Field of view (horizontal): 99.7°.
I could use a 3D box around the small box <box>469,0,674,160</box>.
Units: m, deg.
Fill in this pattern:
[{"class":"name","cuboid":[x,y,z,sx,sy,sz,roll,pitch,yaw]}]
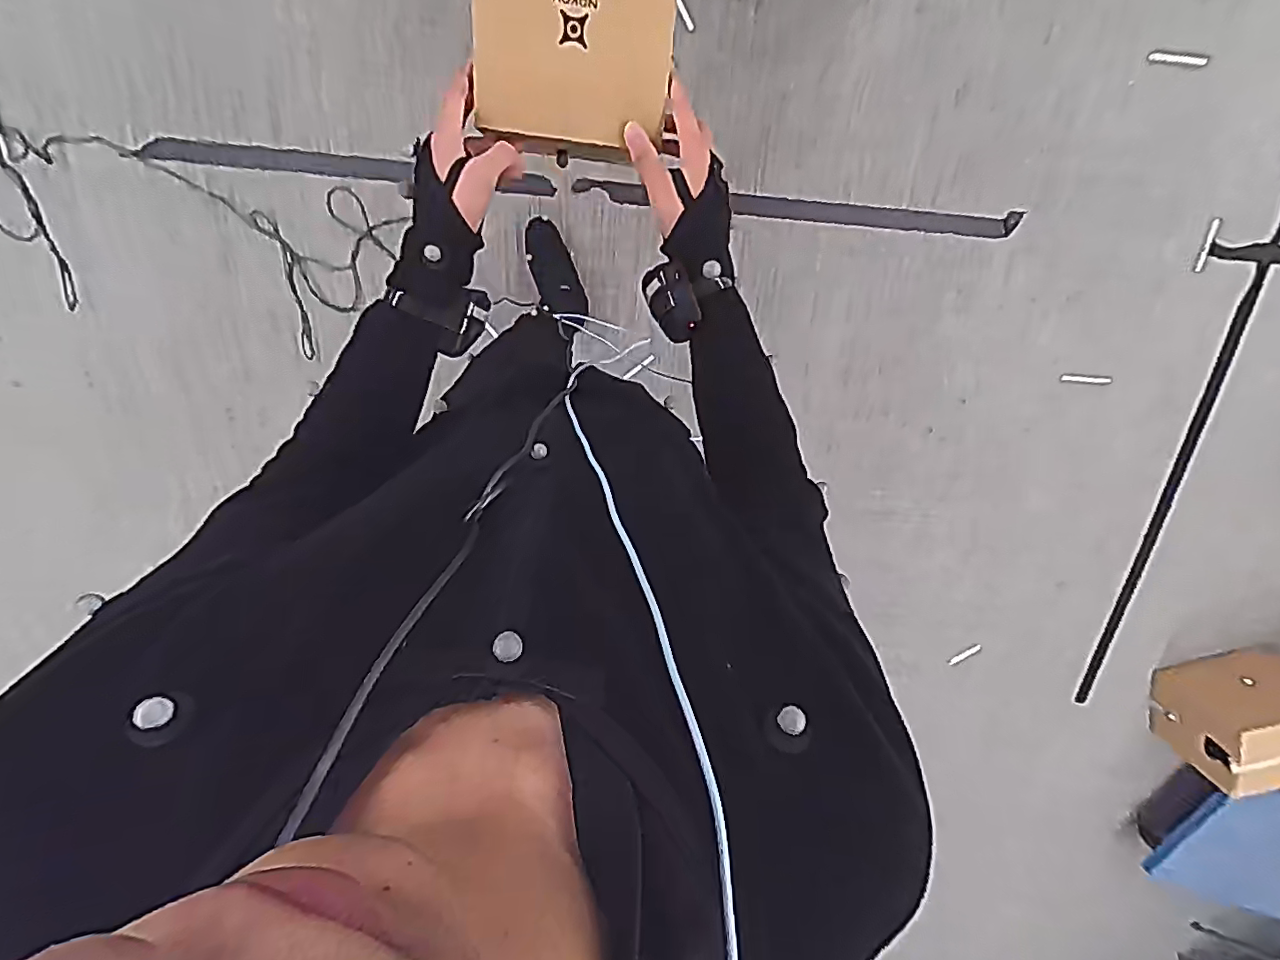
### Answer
[{"class":"small box","cuboid":[-0.065,-0.415,0.510,0.168,0.176,0.179,2,115,-11]}]
